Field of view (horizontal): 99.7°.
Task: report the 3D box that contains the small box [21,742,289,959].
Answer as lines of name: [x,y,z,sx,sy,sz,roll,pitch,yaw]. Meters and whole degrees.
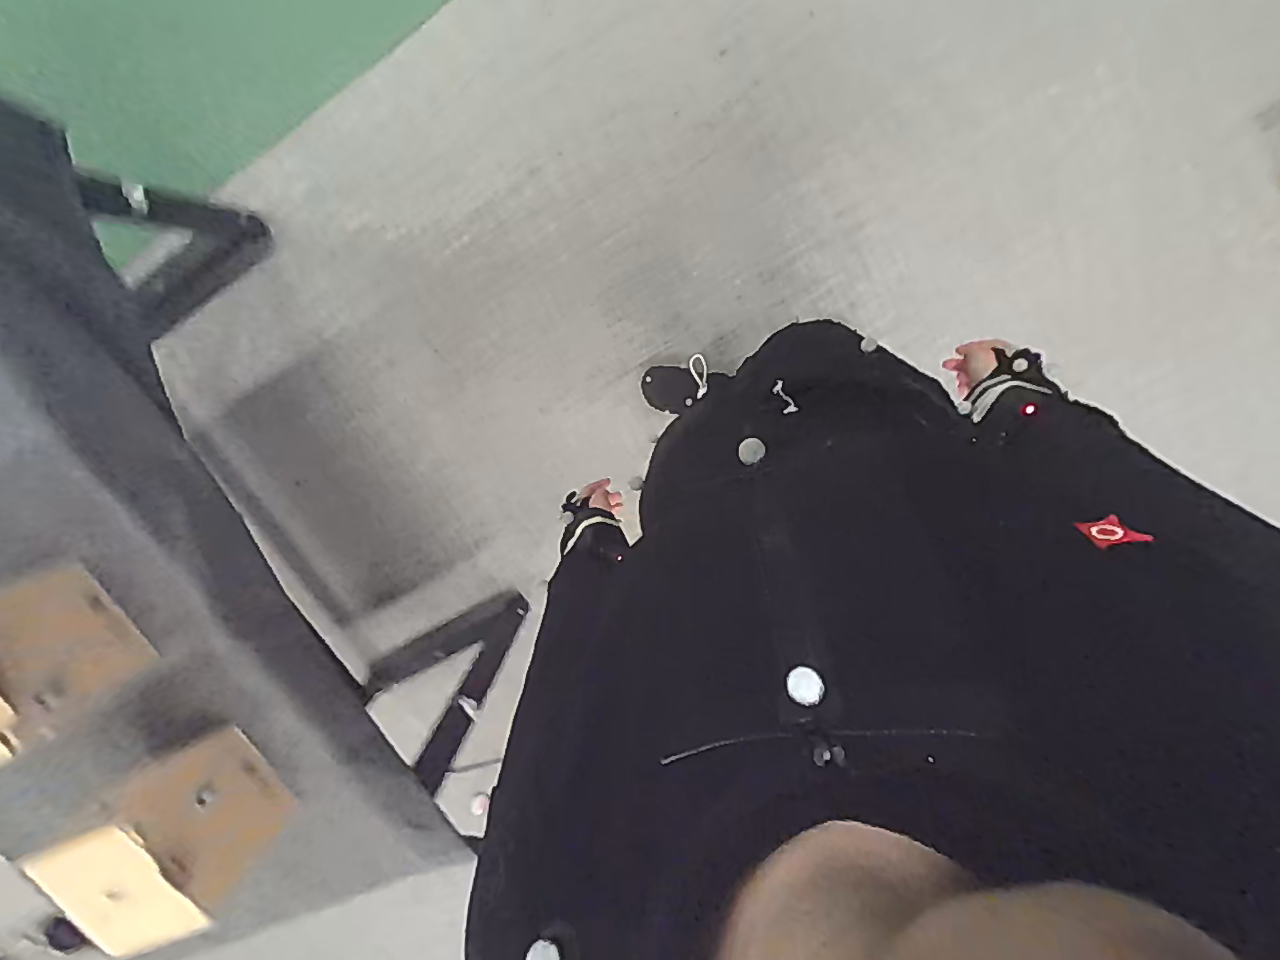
small box: [-0.607,0.482,0.709,0.179,0.176,0.168,-26,102,13]
